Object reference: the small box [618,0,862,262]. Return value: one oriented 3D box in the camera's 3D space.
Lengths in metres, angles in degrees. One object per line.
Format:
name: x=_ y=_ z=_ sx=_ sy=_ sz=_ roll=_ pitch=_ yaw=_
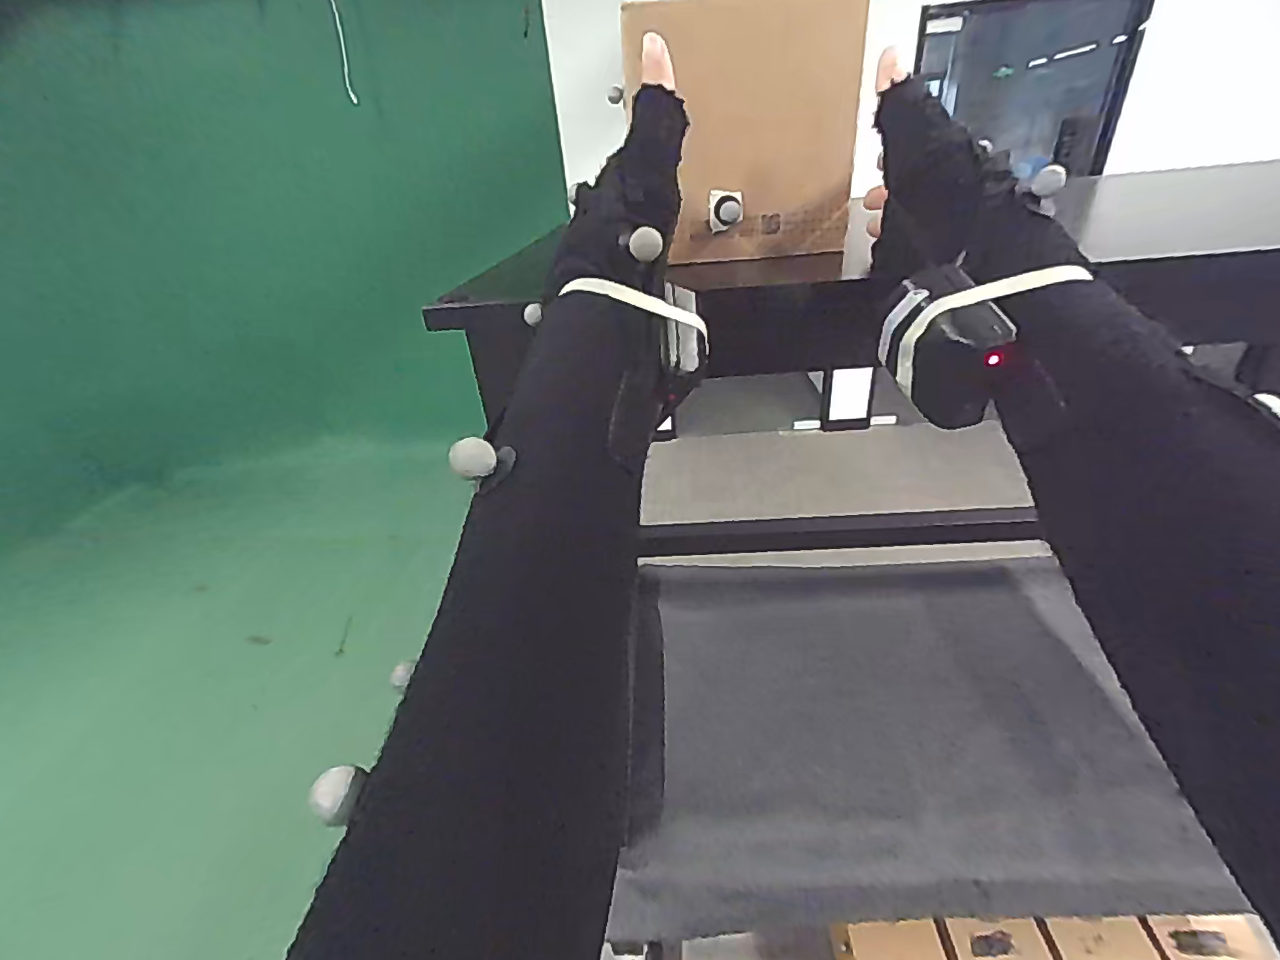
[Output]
small box: x=0.072 y=-0.290 z=0.468 sx=0.168 sy=0.176 sz=0.179 roll=-5 pitch=30 yaw=2
